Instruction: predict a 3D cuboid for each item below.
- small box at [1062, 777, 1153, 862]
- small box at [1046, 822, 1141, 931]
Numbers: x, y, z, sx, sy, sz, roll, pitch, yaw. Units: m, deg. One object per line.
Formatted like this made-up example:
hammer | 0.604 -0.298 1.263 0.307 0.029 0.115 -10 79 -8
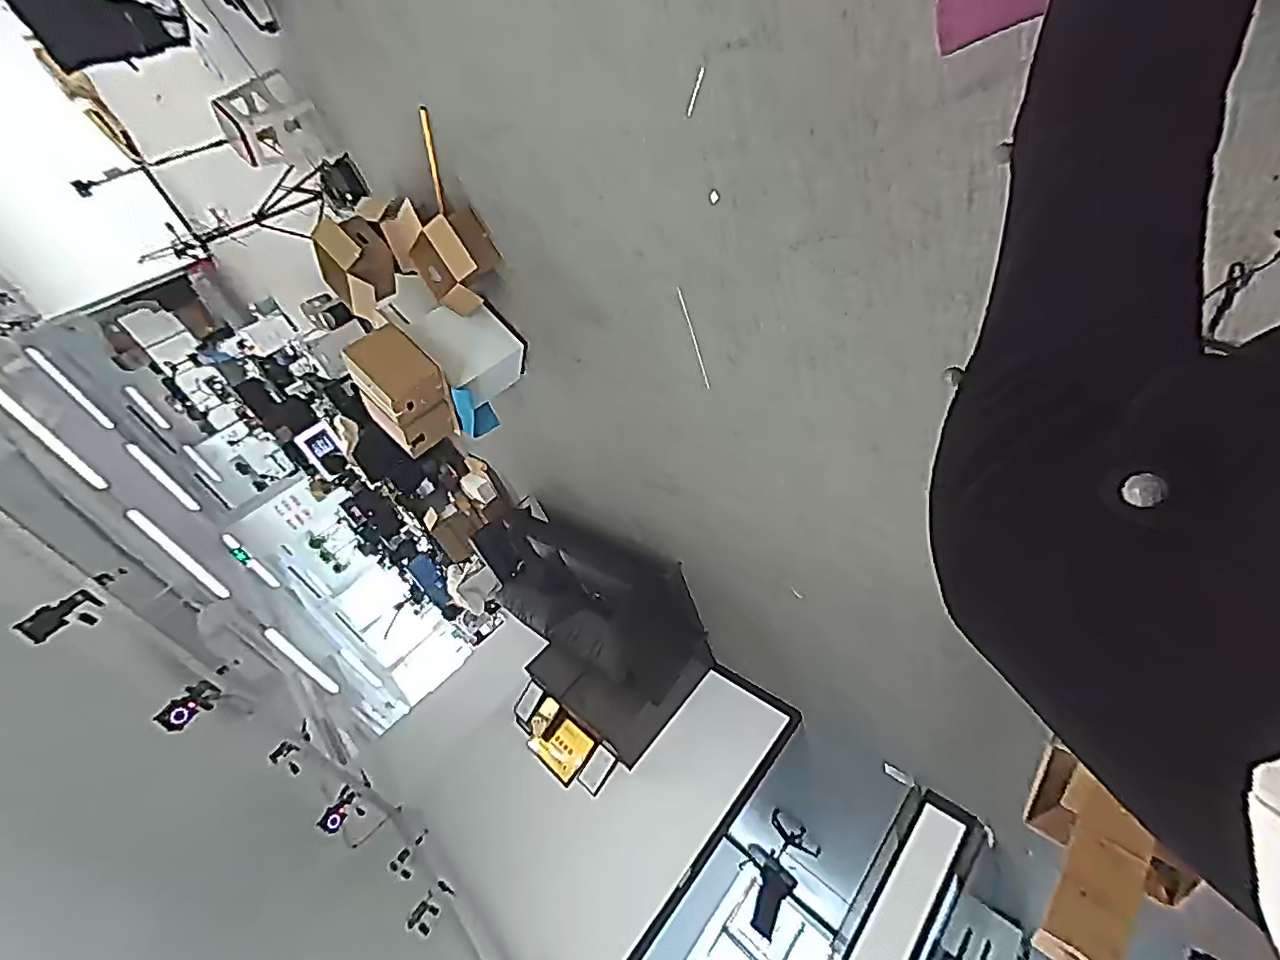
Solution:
small box | 1.442 1.068 1.667 0.168 0.176 0.179 21 141 42
small box | 1.333 1.160 1.591 0.168 0.176 0.179 21 141 43
